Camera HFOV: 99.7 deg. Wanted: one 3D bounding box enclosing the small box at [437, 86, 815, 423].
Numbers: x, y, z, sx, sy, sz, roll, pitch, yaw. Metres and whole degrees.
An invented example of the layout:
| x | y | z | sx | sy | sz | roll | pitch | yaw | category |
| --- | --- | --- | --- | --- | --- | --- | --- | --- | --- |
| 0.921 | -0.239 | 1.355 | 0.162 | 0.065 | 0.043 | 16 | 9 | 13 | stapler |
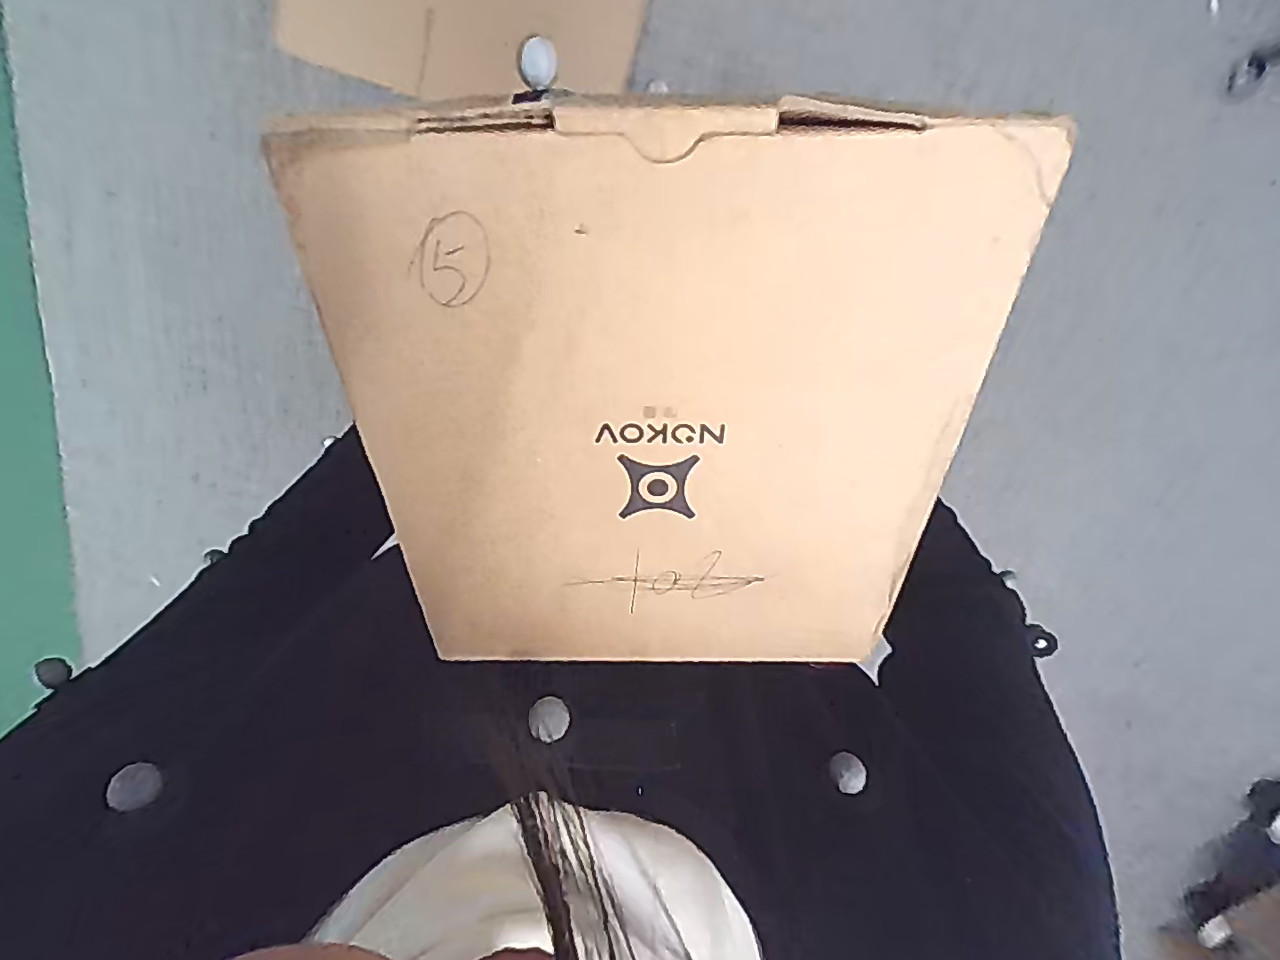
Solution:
| x | y | z | sx | sy | sz | roll | pitch | yaw | category |
| --- | --- | --- | --- | --- | --- | --- | --- | --- | --- |
| -0.008 | -0.151 | 0.355 | 0.179 | 0.176 | 0.168 | 1 | 125 | -1 | small box |
